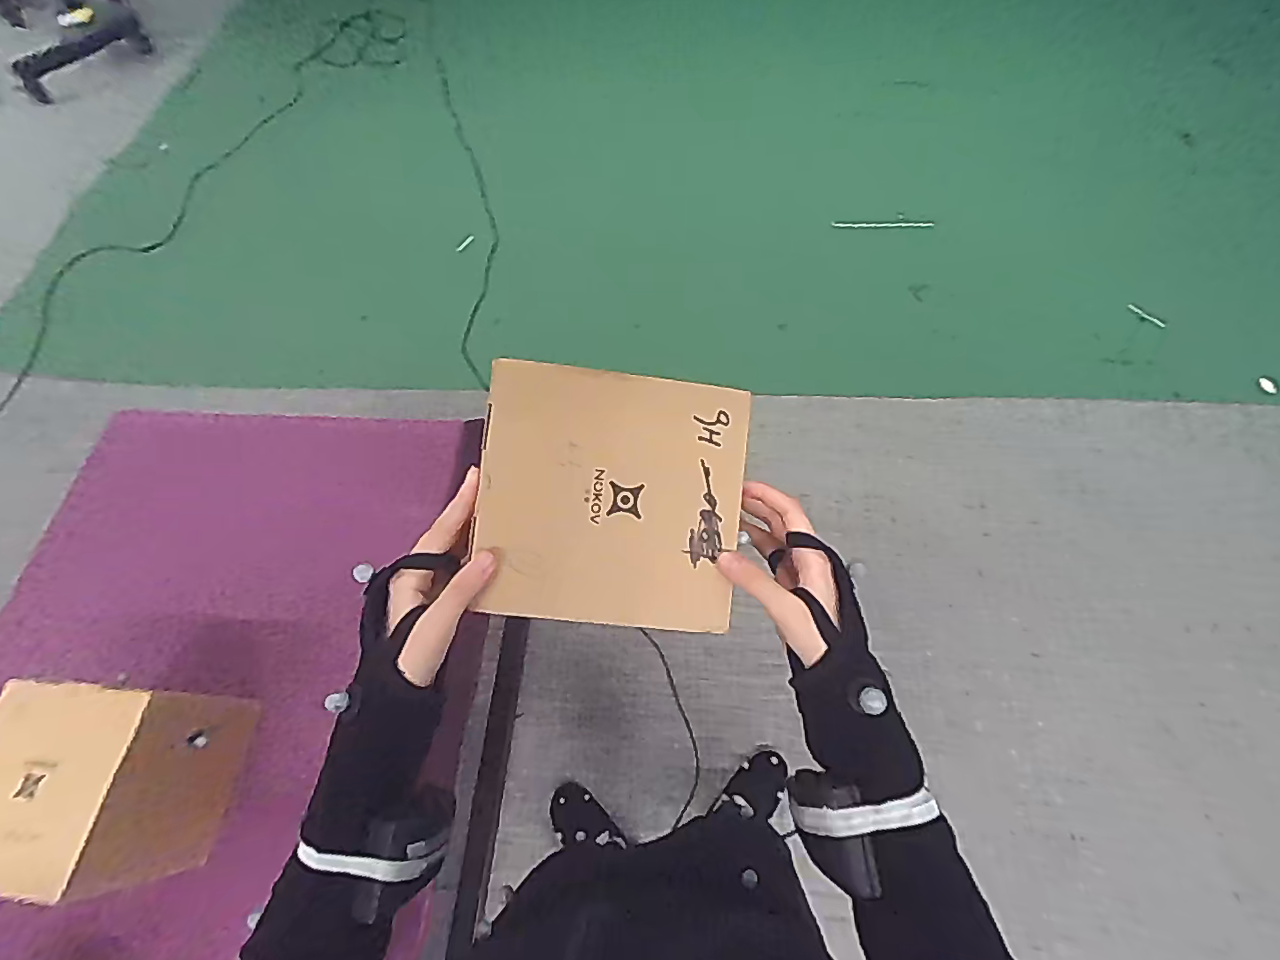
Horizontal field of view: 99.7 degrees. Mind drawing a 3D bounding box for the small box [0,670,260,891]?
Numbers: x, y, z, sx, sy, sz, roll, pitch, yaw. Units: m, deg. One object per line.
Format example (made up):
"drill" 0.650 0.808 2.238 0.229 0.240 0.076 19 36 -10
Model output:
"small box" -0.571 0.320 0.597 0.168 0.176 0.179 3 64 6
